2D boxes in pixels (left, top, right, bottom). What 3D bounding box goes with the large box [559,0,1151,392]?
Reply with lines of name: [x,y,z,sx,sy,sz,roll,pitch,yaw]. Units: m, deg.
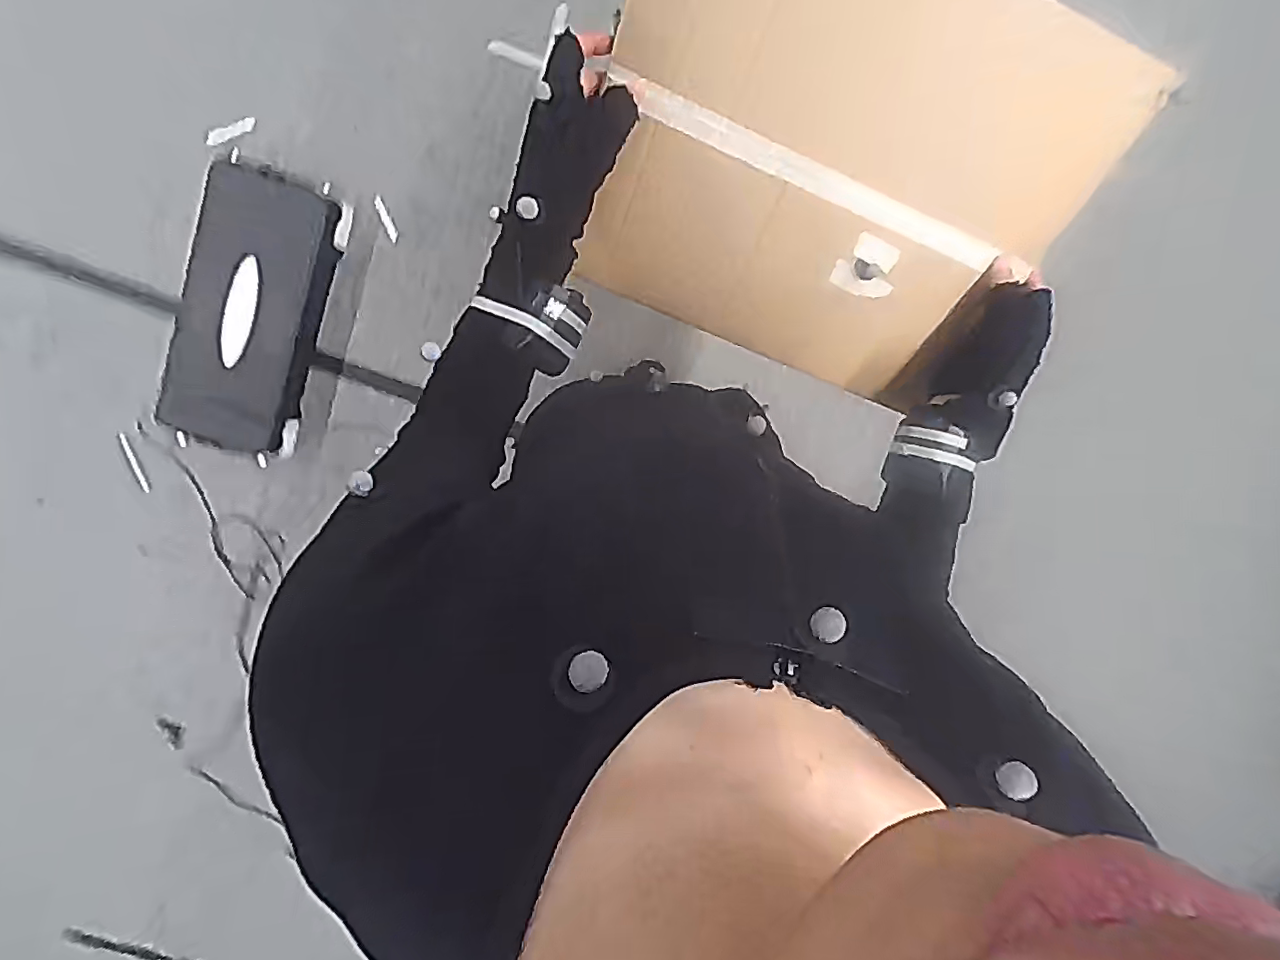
large box: [0.160,-0.350,0.585,0.408,0.320,0.320,18,125,-9]
